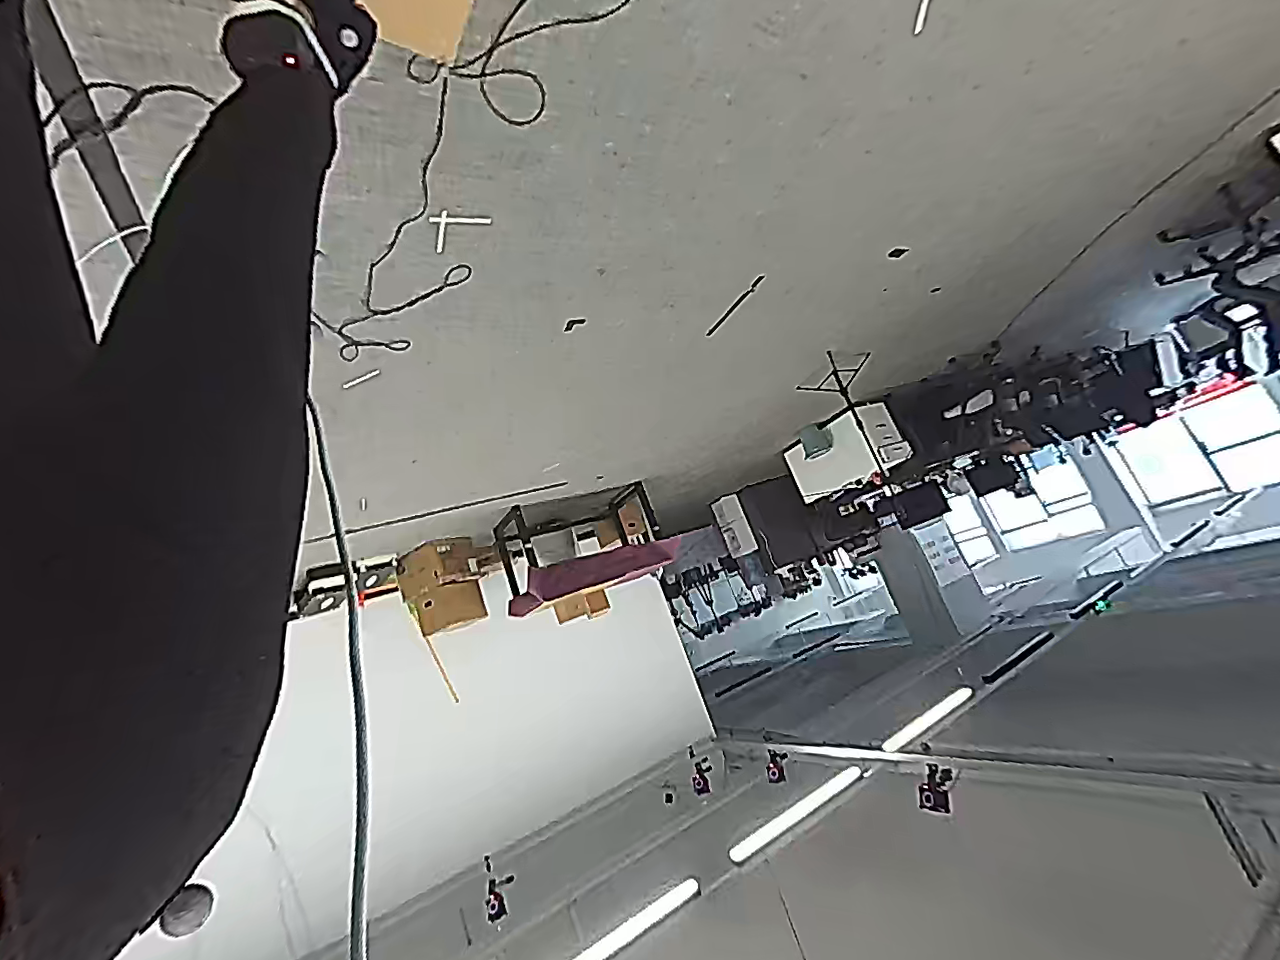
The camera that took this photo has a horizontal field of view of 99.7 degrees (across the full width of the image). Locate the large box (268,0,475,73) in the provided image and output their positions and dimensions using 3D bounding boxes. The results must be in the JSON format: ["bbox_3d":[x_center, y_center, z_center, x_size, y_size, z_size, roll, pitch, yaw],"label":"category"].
[{"bbox_3d":[-0.306,-0.753,0.530,0.320,0.320,0.408,-3,160,-39],"label":"large box"}]
